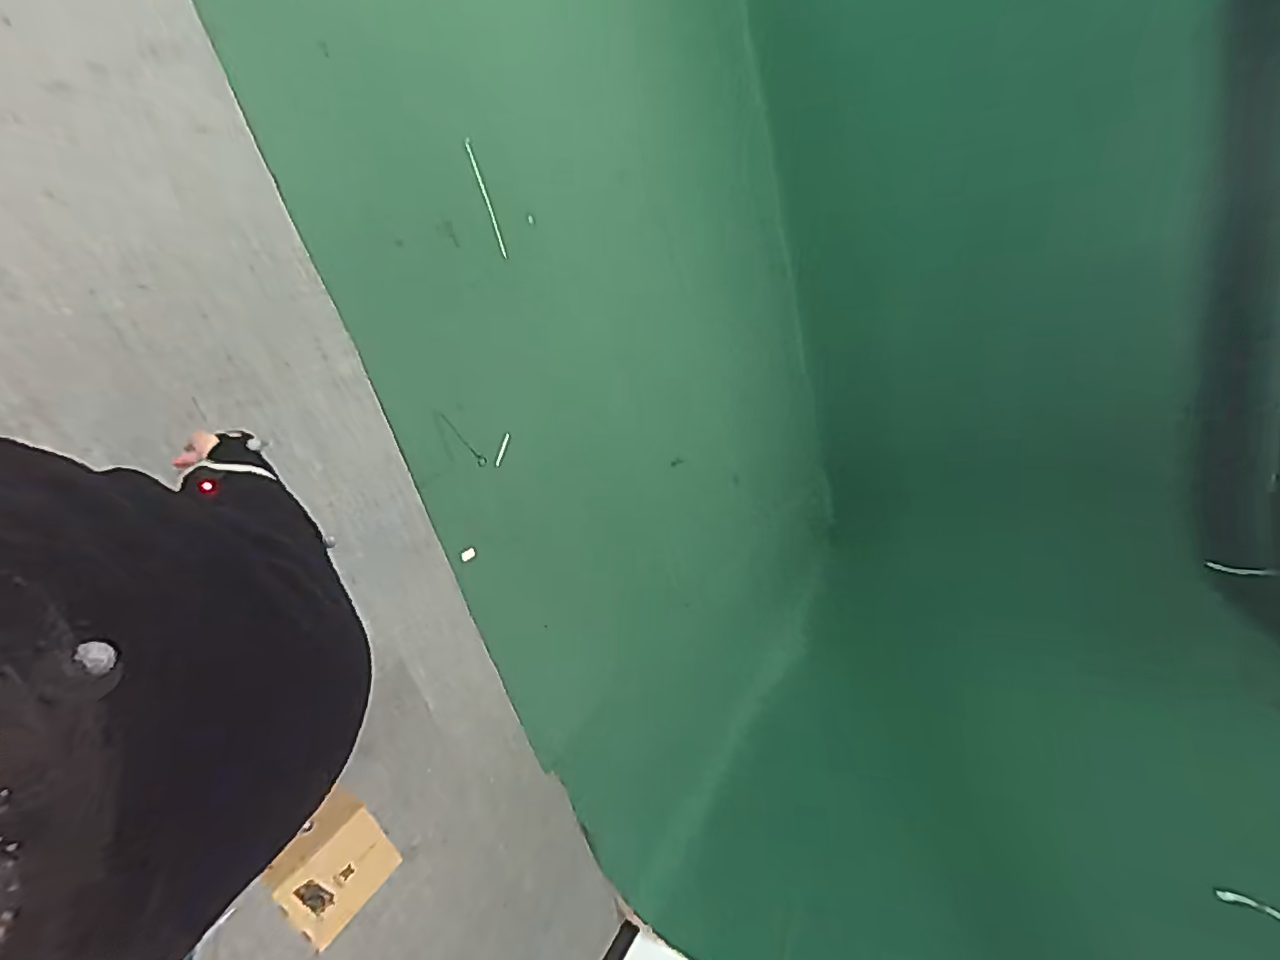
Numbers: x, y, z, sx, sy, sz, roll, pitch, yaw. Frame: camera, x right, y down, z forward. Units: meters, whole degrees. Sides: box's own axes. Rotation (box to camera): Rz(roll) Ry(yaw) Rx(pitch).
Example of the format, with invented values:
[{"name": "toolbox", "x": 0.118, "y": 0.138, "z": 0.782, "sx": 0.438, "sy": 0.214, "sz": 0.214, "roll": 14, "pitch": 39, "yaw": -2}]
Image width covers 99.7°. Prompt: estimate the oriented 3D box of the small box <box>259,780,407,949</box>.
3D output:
[{"name": "small box", "x": -0.599, "y": 0.730, "z": 1.048, "sx": 0.179, "sy": 0.176, "sz": 0.168, "roll": -39, "pitch": 118, "yaw": -44}]
